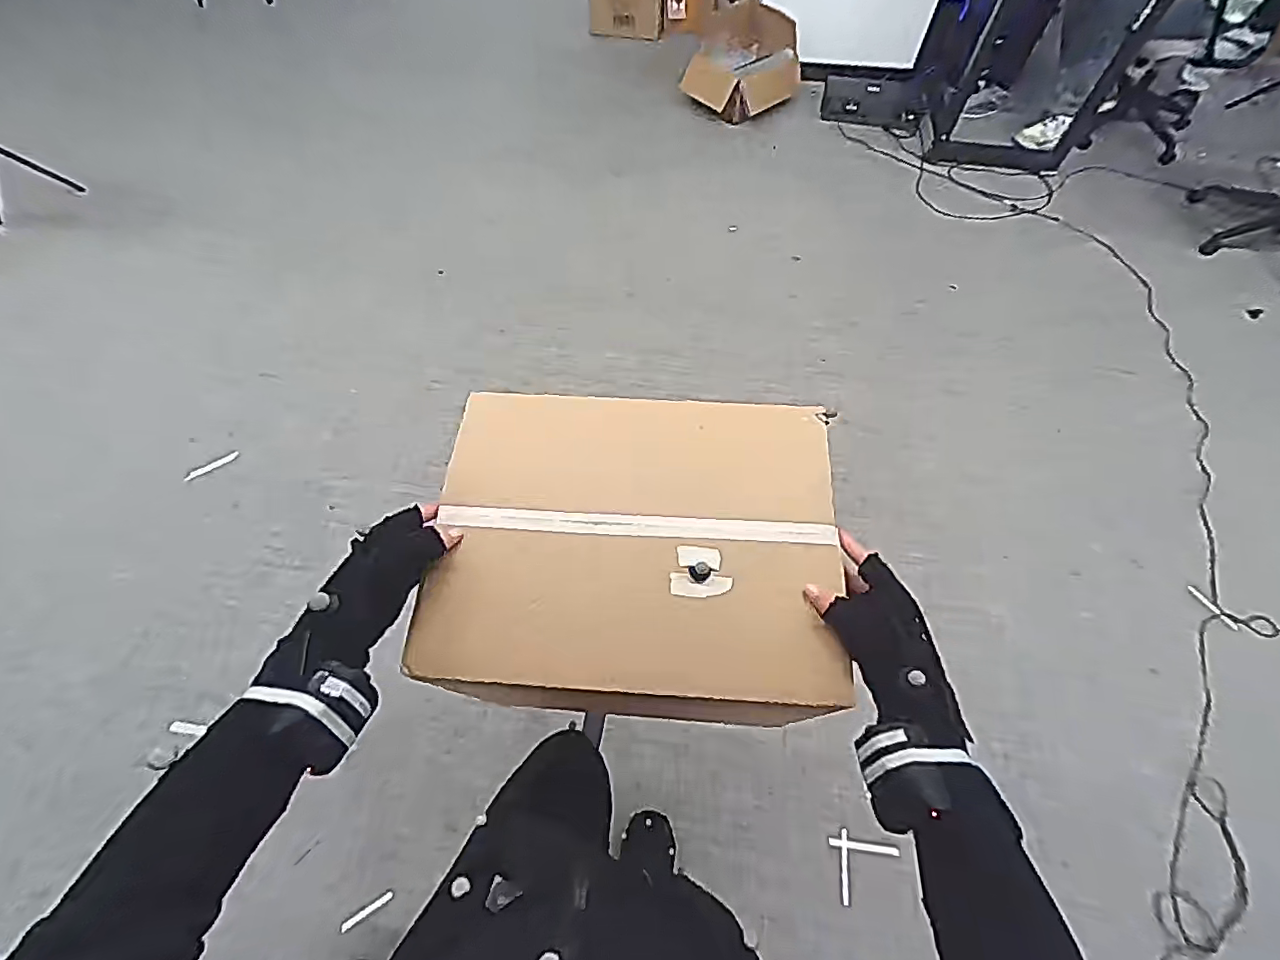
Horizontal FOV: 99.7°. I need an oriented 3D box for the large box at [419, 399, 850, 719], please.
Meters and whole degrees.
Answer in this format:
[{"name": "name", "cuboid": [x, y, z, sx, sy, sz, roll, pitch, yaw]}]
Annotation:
[{"name": "large box", "cuboid": [0.000, 0.117, 0.690, 0.408, 0.320, 0.320, 3, 63, 2]}]
